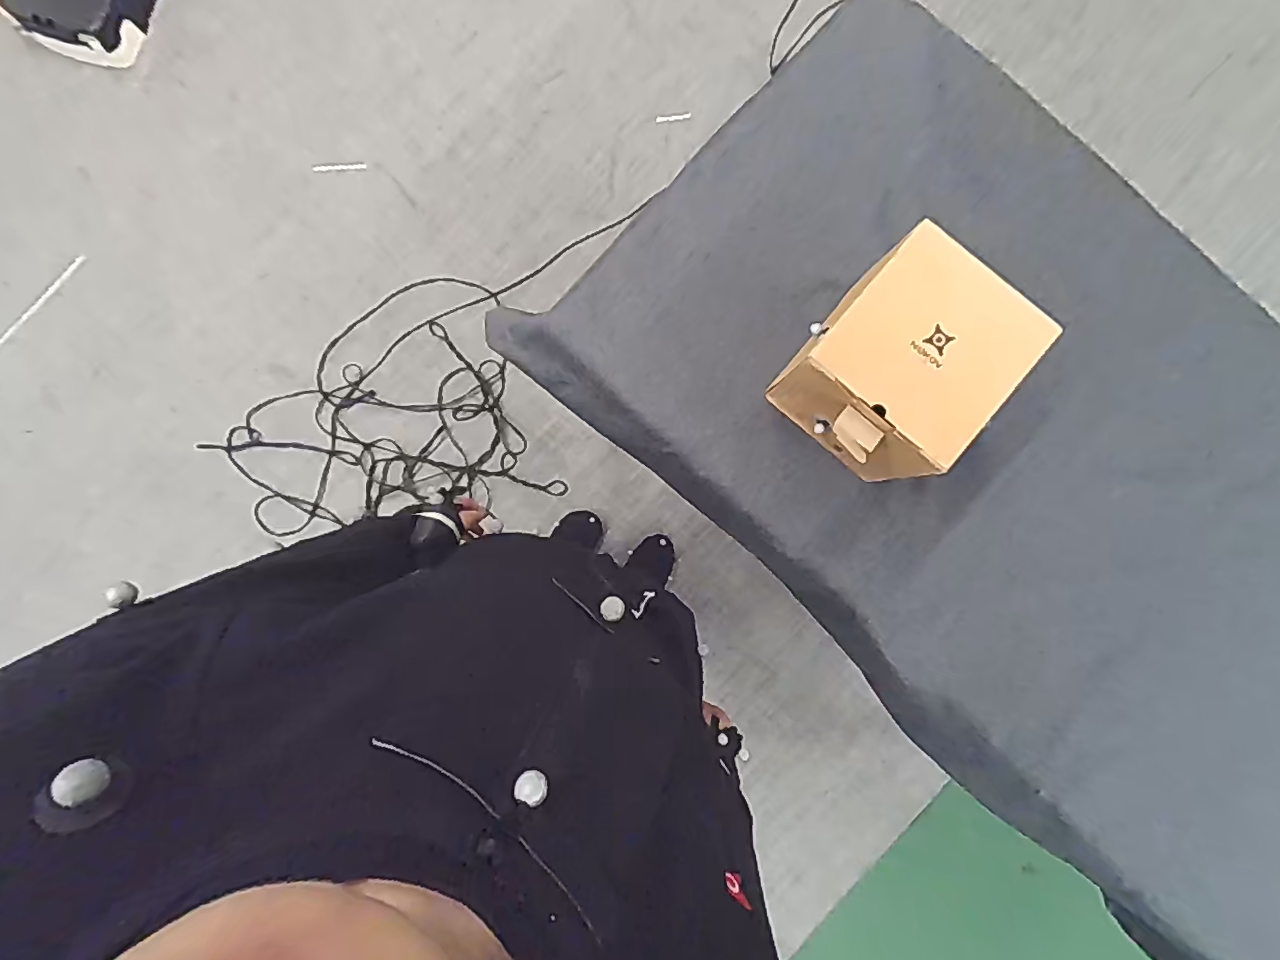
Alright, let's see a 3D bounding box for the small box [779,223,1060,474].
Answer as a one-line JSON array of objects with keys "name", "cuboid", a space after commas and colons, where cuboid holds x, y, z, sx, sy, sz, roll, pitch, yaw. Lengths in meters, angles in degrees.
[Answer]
[{"name": "small box", "cuboid": [0.277, -0.123, 0.581, 0.168, 0.176, 0.179, 40, 88, 1]}]
